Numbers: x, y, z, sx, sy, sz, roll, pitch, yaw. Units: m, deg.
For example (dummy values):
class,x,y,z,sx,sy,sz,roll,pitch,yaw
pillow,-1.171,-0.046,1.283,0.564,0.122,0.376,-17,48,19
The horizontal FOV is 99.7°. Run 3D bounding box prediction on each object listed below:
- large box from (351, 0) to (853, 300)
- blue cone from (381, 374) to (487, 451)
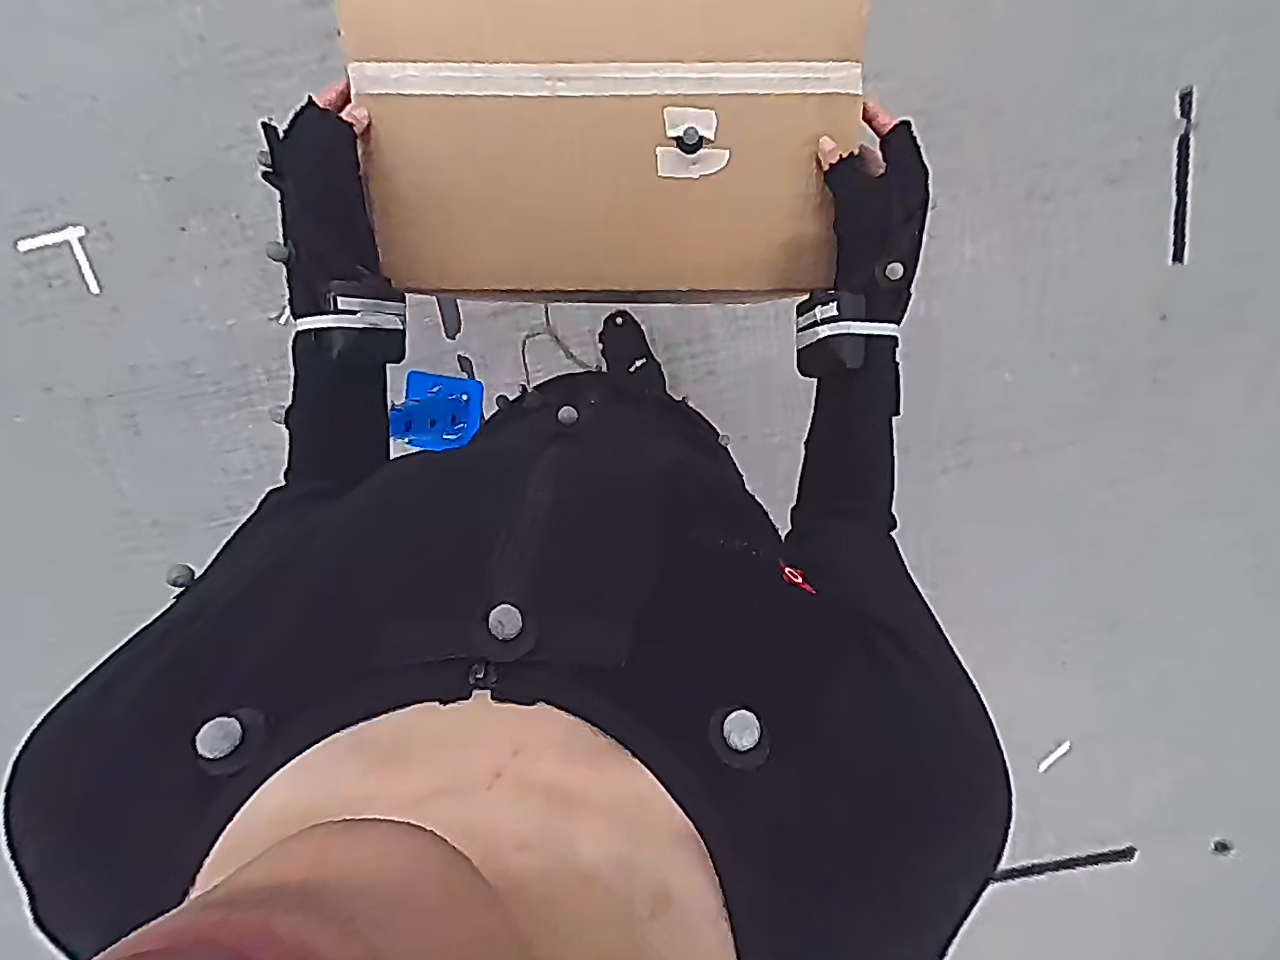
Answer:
class,x,y,z,sx,sy,sz,roll,pitch,yaw
large box,-0.032,-0.369,0.583,0.408,0.320,0.320,-1,106,-1
blue cone,-0.508,-0.143,1.279,0.193,0.380,0.192,11,102,-2
